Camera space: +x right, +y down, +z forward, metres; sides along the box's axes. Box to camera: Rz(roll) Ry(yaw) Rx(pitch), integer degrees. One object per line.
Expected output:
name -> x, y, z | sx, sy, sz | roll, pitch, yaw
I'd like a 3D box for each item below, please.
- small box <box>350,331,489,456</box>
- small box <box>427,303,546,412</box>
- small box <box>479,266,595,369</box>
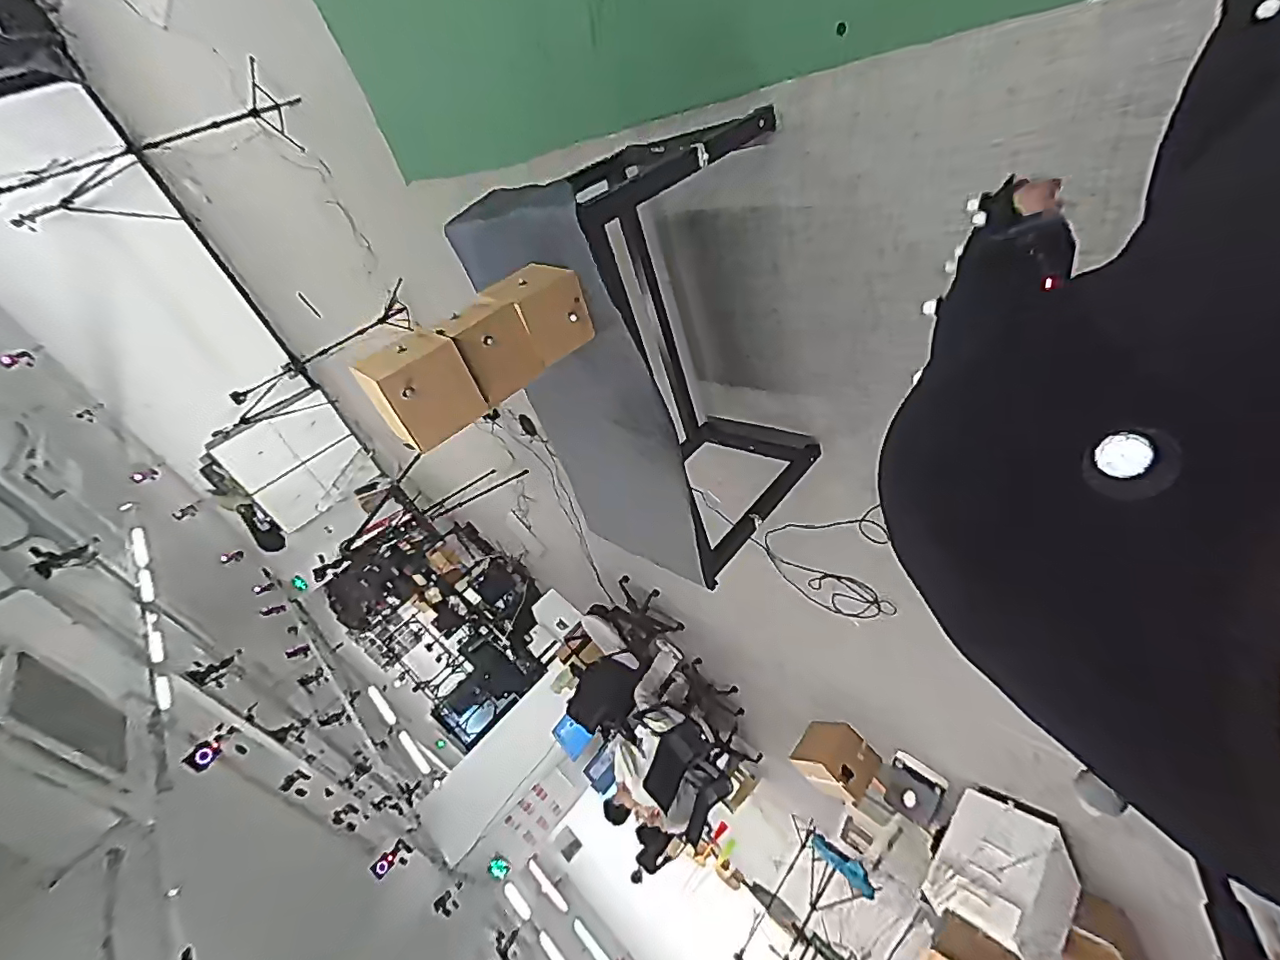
small box -> -0.447, -0.185, 1.111 | 0.168, 0.176, 0.179 | 26, 147, 43
small box -> -0.344, -0.279, 1.203 | 0.168, 0.176, 0.179 | 22, 146, 47
small box -> -0.236, -0.384, 1.264 | 0.179, 0.176, 0.168 | 26, 147, 39
